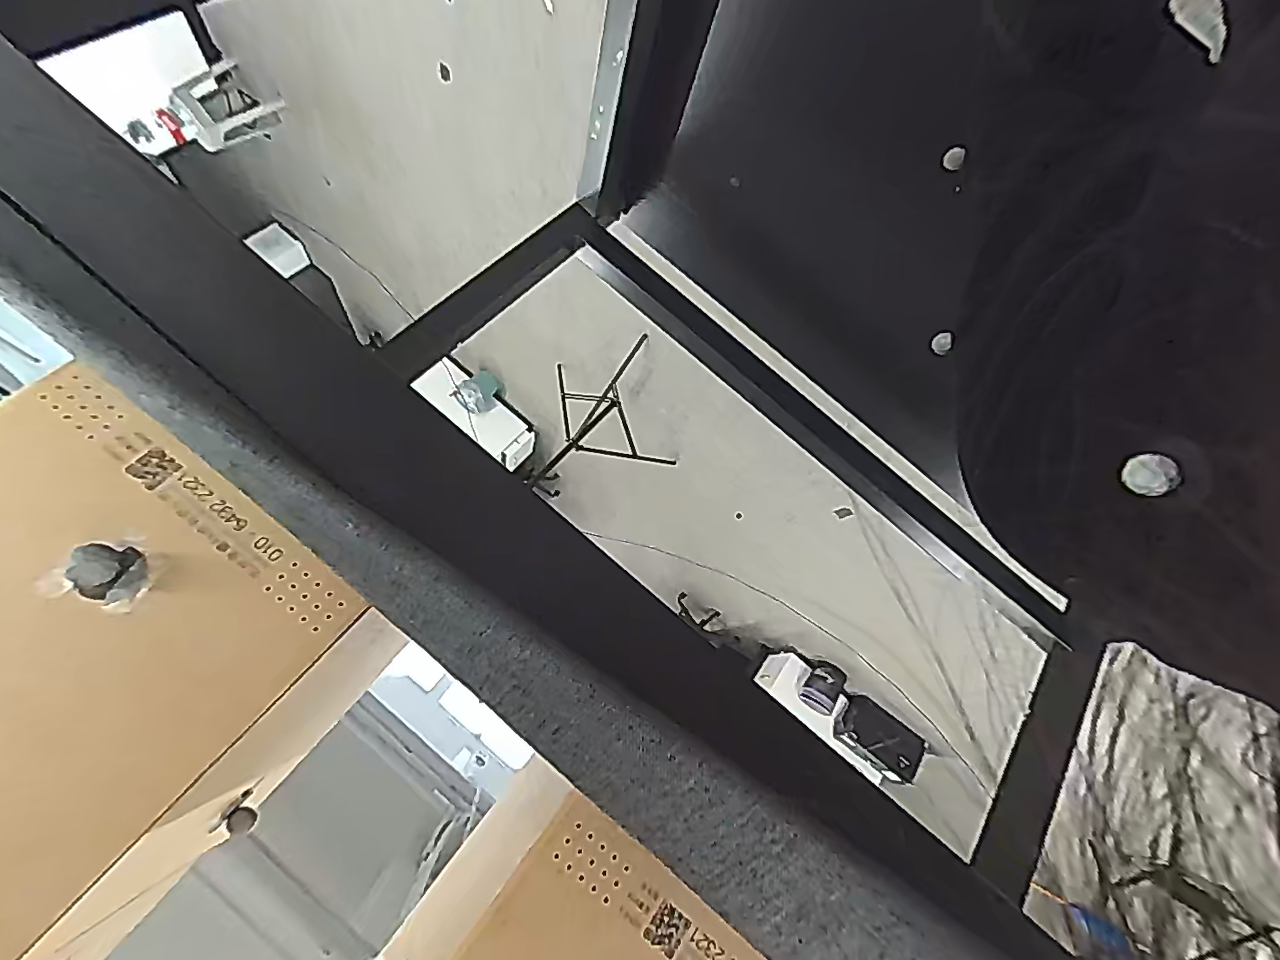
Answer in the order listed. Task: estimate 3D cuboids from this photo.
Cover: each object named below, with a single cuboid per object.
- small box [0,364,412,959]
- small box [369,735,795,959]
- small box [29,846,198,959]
[{"bbox_3d":[-0.244,0.078,0.278,0.168,0.176,0.179,40,158,1],"label":"small box"},{"bbox_3d":[-0.034,0.256,0.267,0.168,0.176,0.179,41,159,2],"label":"small box"},{"bbox_3d":[-0.345,0.192,0.217,0.168,0.176,0.179,41,157,0],"label":"small box"}]
